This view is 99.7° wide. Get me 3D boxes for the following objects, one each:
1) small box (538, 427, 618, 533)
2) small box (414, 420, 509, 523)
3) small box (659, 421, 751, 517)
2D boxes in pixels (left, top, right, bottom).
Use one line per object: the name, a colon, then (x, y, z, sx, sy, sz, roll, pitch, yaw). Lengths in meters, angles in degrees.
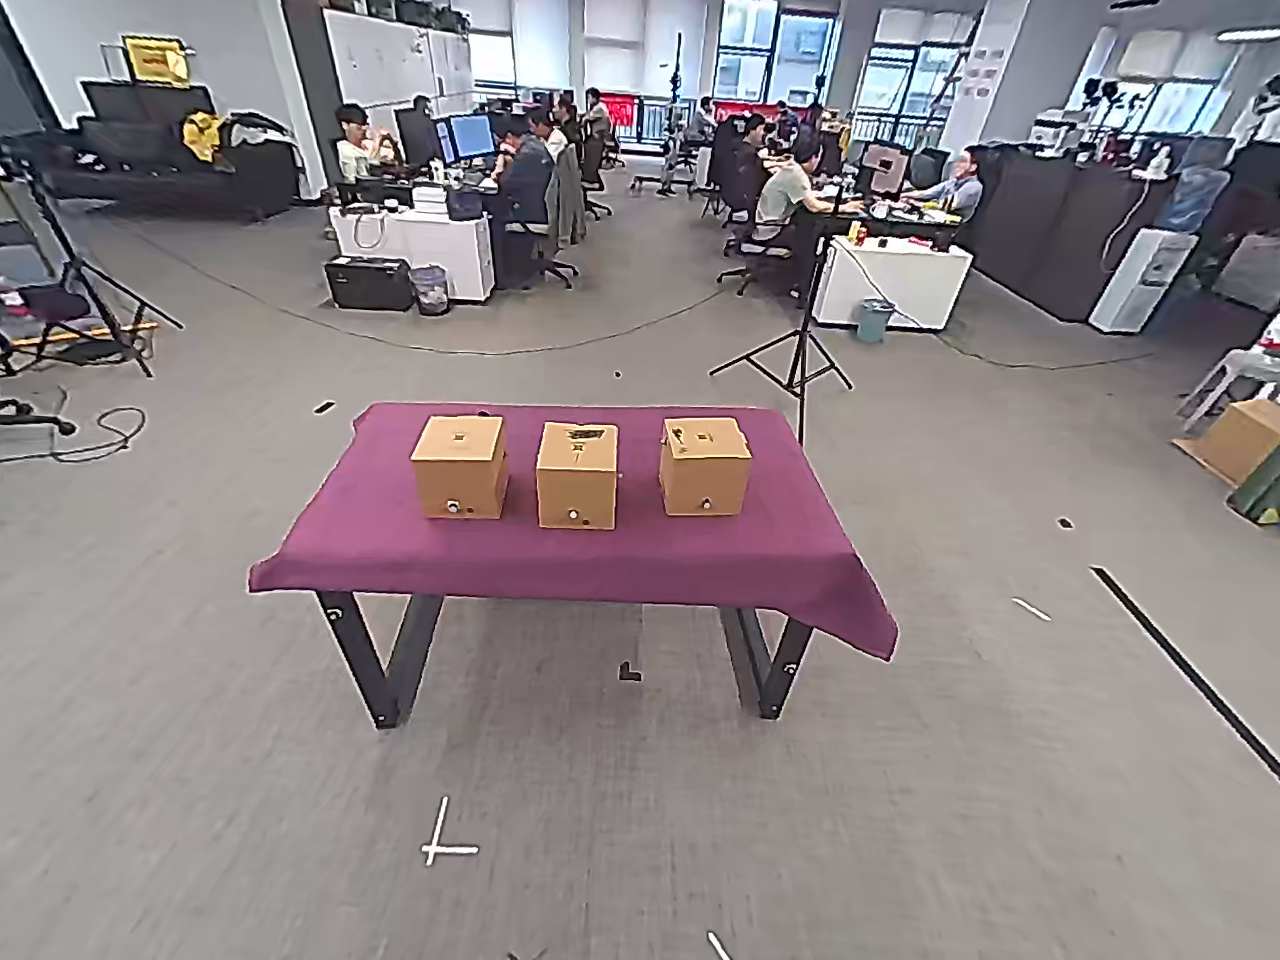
small box: (-0.136, -0.001, 1.224, 0.168, 0.176, 0.179, 1, 37, -3)
small box: (-0.395, -0.020, 1.228, 0.168, 0.176, 0.179, -1, 38, -5)
small box: (0.145, -0.025, 1.283, 0.179, 0.176, 0.168, -1, 37, -6)
